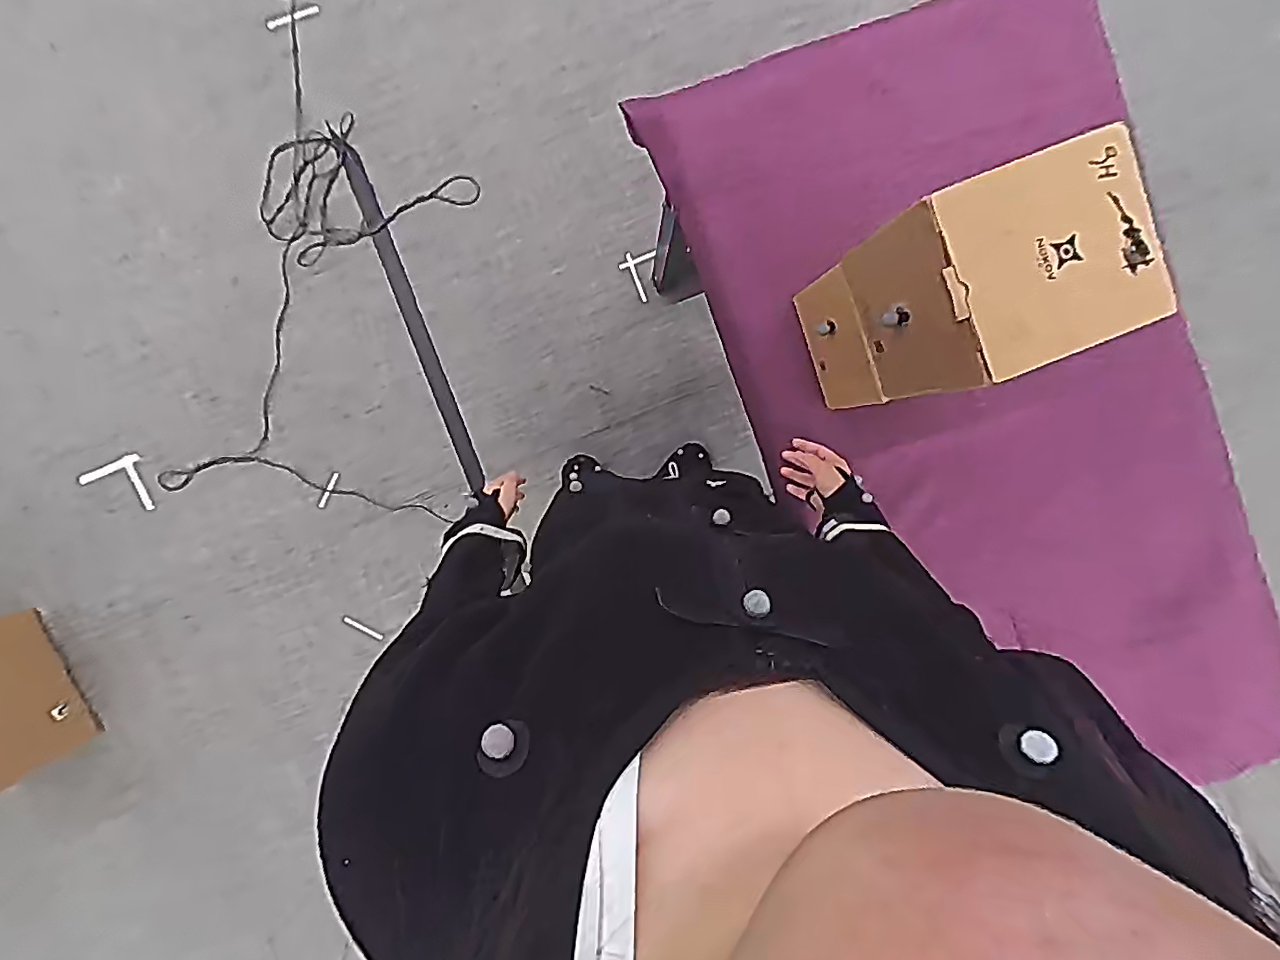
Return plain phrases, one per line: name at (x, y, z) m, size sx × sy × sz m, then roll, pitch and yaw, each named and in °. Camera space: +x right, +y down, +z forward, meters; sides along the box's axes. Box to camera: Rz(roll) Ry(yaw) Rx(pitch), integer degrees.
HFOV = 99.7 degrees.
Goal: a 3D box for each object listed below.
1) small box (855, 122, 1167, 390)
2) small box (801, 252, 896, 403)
small box at (0.336, -0.196, 0.531) m, size 0.179 × 0.176 × 0.168 m, roll -21°, pitch 96°, yaw -1°
small box at (0.324, -0.205, 0.694) m, size 0.179 × 0.176 × 0.168 m, roll -20°, pitch 95°, yaw -2°
